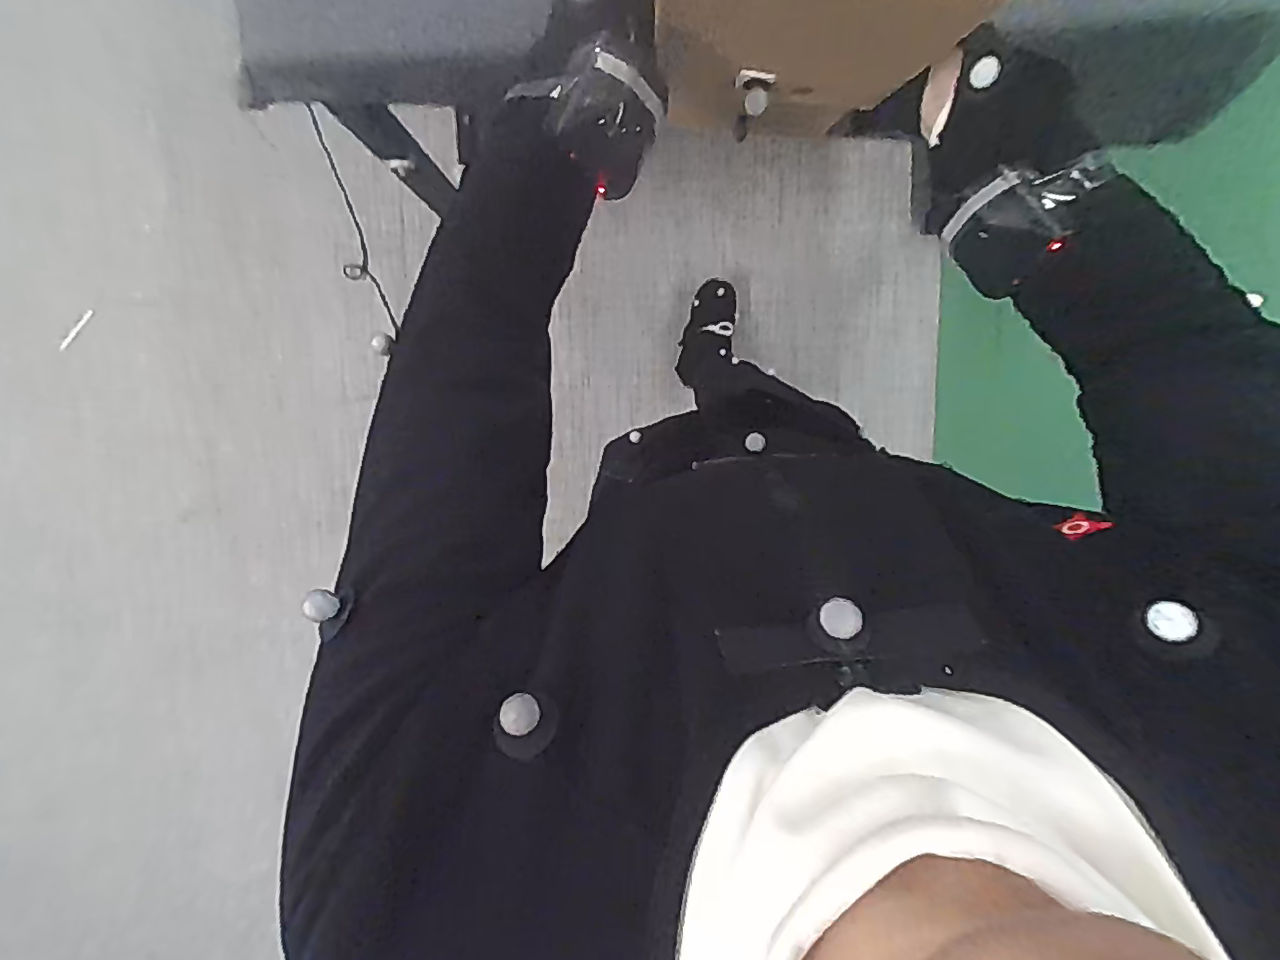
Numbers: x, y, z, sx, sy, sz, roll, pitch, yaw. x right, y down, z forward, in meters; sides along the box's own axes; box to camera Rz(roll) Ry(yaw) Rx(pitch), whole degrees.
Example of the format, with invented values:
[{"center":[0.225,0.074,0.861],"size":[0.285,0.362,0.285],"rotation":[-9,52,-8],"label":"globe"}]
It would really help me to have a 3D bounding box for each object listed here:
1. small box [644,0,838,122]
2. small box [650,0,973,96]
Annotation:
[{"center":[0.097,-0.415,0.443],"size":[0.179,0.176,0.168],"rotation":[3,108,-2],"label":"small box"},{"center":[0.094,-0.346,0.294],"size":[0.168,0.176,0.179],"rotation":[4,110,-1],"label":"small box"}]
